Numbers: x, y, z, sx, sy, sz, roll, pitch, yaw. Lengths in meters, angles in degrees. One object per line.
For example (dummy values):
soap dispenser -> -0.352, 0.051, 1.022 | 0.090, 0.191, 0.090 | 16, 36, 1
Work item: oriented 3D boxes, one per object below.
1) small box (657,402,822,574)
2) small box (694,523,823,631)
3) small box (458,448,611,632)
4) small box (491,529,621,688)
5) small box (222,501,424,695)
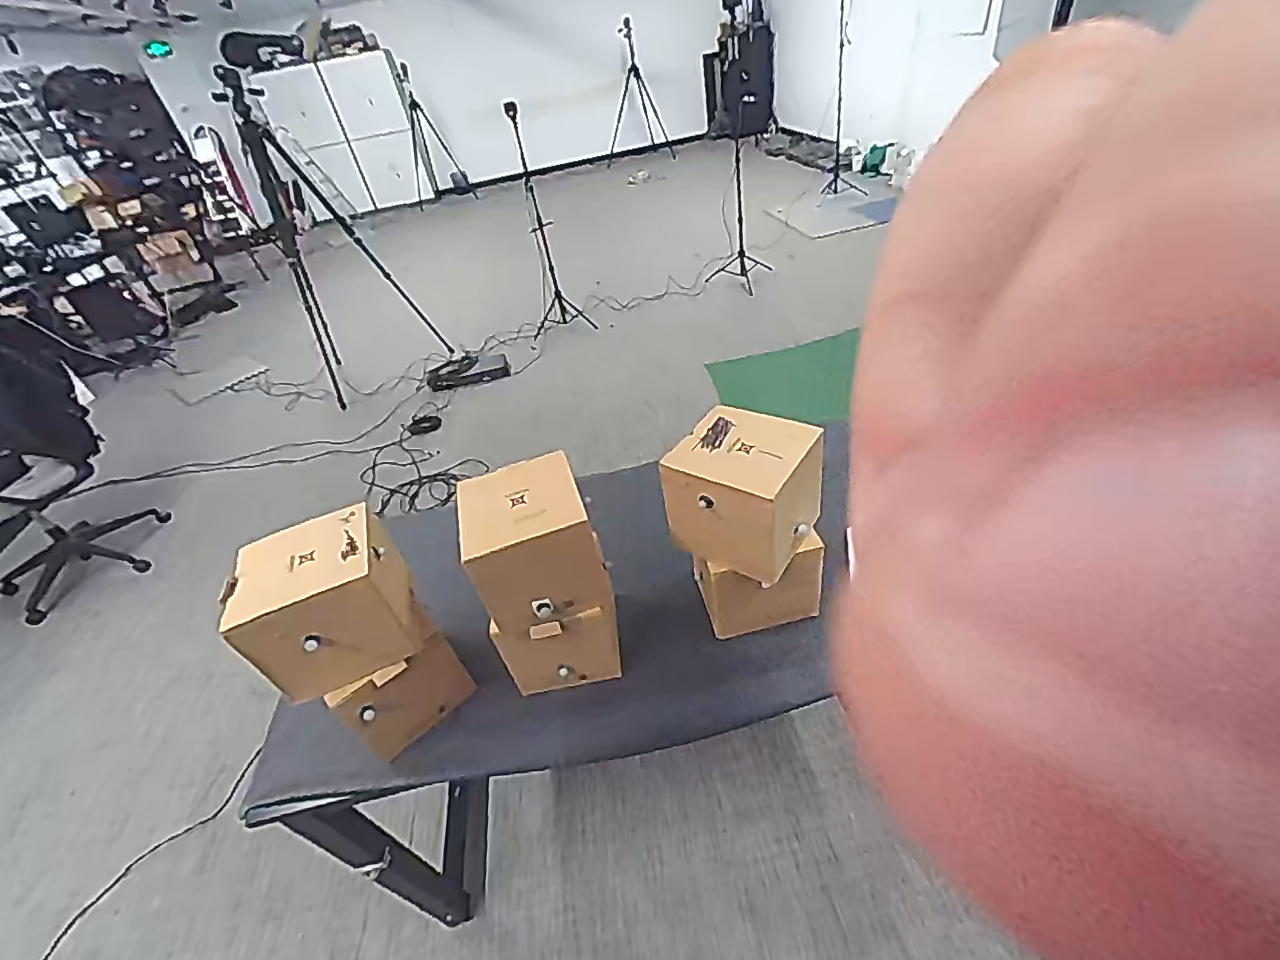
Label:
small box -> 0.150, 0.010, 0.800 | 0.179, 0.176, 0.168 | 19, 49, 33
small box -> 0.189, 0.126, 0.911 | 0.179, 0.176, 0.168 | -15, 38, -1
small box -> -0.153, 0.086, 0.789 | 0.168, 0.176, 0.179 | -19, 39, -7
small box -> -0.131, 0.210, 0.891 | 0.168, 0.176, 0.179 | -12, 39, 1
small box -> -0.430, 0.166, 0.762 | 0.179, 0.176, 0.168 | -23, 40, -12
